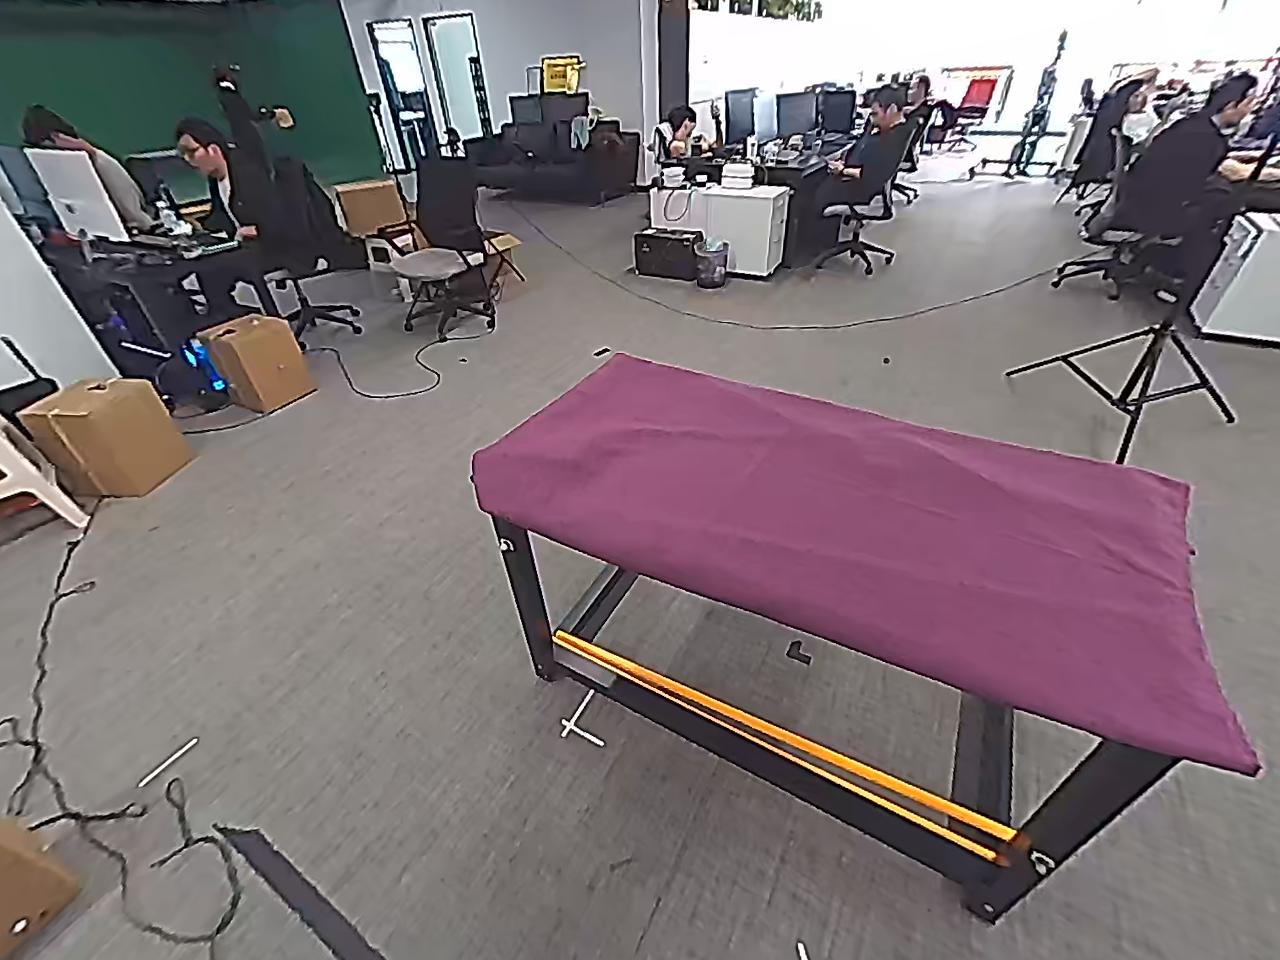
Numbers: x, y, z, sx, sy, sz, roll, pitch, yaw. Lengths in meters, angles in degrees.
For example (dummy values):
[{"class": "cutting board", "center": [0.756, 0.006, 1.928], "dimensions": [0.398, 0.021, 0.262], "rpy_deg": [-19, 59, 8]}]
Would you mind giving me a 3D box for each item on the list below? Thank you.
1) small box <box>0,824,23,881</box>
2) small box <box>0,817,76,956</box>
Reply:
[{"class": "small box", "center": [-1.366, 0.729, 1.030], "dimensions": [0.179, 0.176, 0.168], "rpy_deg": [17, 42, 23]}, {"class": "small box", "center": [-1.361, 0.860, 1.131], "dimensions": [0.179, 0.176, 0.168], "rpy_deg": [19, 43, 24]}]
